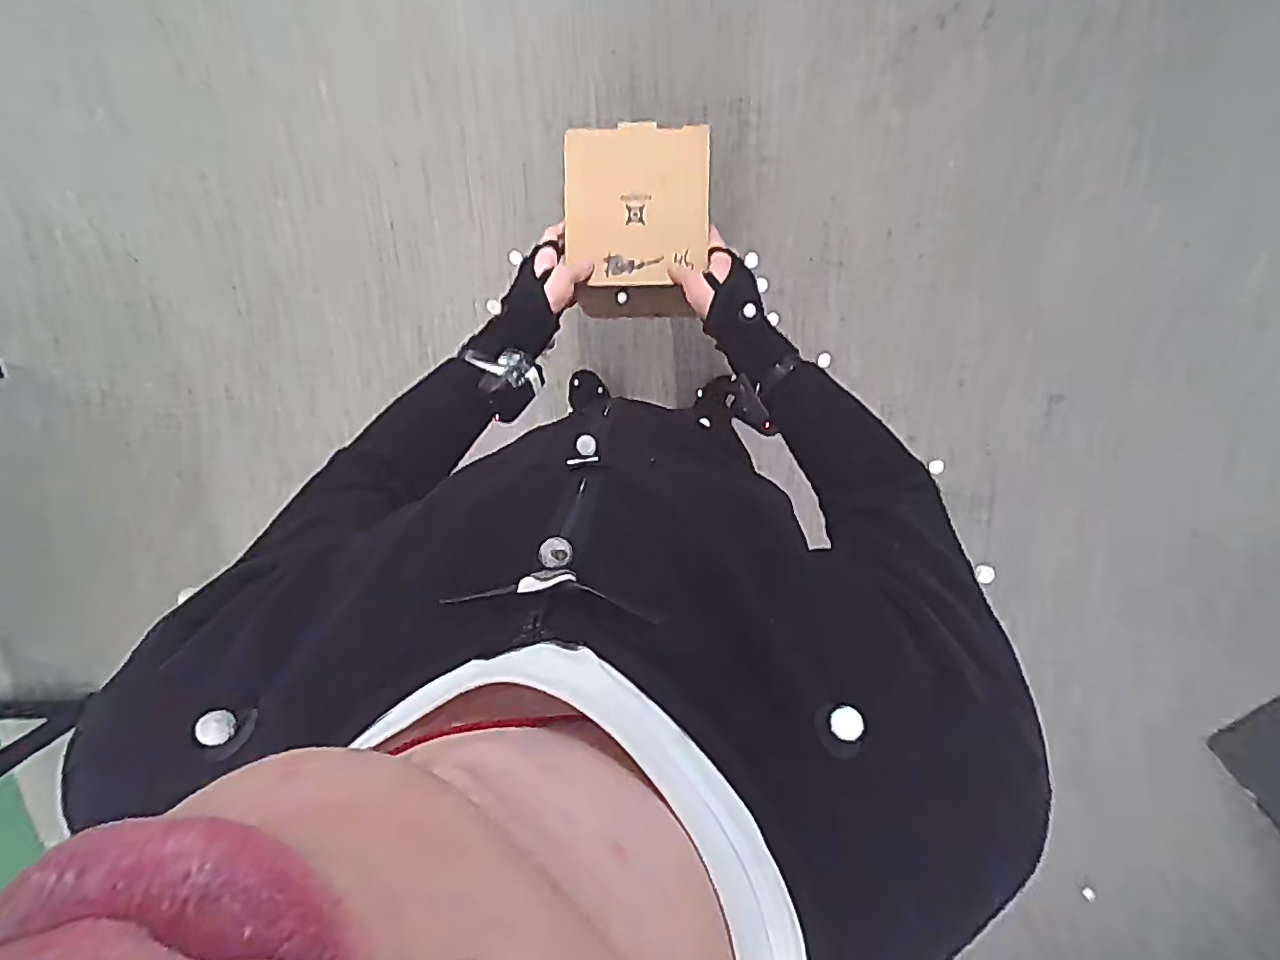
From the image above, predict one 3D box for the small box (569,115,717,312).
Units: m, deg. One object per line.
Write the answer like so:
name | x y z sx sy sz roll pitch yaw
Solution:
small box | 0.006 -0.325 0.688 0.168 0.176 0.179 1 94 3
